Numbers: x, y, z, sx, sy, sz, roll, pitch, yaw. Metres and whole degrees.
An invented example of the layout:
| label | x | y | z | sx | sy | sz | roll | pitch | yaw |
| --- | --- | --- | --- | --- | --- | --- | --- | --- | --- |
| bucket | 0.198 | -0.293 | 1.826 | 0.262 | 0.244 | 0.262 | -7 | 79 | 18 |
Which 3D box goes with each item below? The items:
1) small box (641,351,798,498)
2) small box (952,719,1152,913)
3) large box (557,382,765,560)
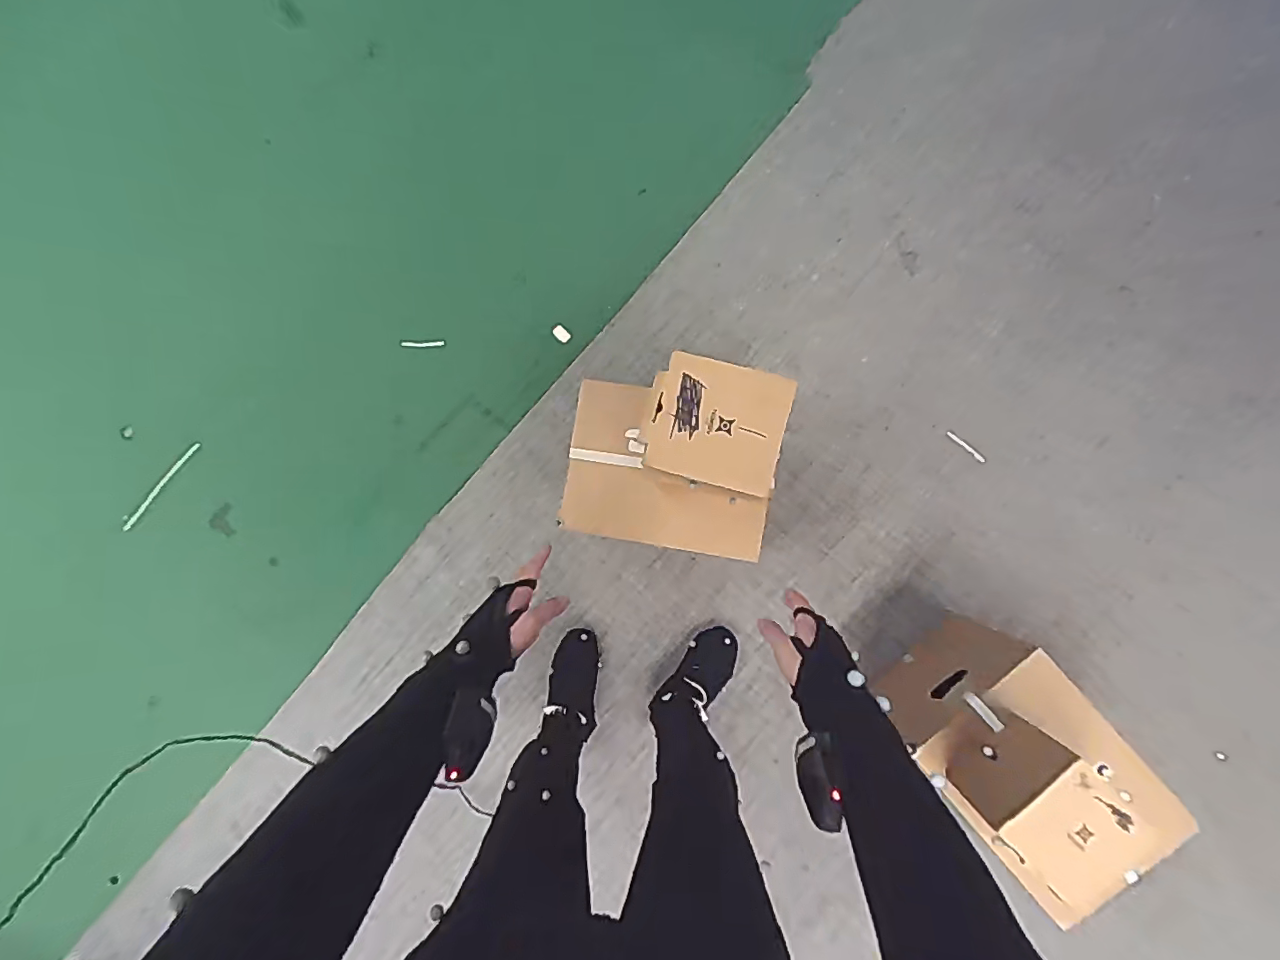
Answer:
| label | x | y | z | sx | sy | sz | roll | pitch | yaw |
| --- | --- | --- | --- | --- | --- | --- | --- | --- | --- |
| small box | 0.112 | -0.071 | 0.803 | 0.179 | 0.176 | 0.168 | 16 | 88 | 5 |
| small box | 0.657 | 0.540 | 0.896 | 0.179 | 0.176 | 0.168 | -43 | 85 | 3 |
| large box | 0.066 | -0.014 | 1.216 | 0.408 | 0.320 | 0.320 | 9 | 87 | 6 |
